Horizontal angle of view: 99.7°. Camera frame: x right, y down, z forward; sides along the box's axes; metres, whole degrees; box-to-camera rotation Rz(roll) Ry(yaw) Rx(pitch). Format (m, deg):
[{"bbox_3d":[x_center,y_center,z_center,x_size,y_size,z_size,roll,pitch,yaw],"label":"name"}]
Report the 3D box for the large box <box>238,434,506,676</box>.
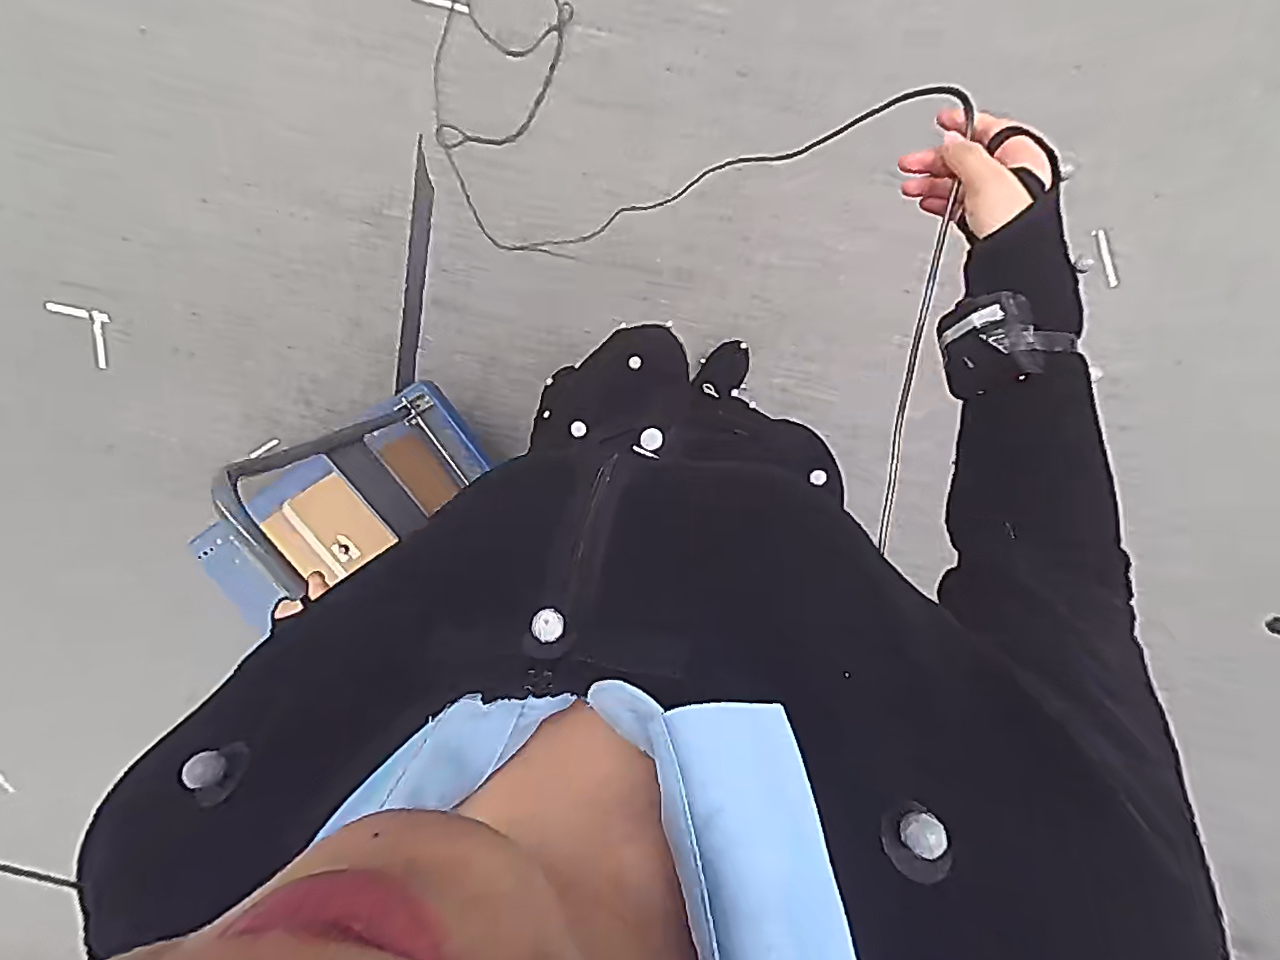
[{"bbox_3d":[-0.587,0.161,1.264,0.320,0.320,0.408,-30,103,12],"label":"large box"}]
